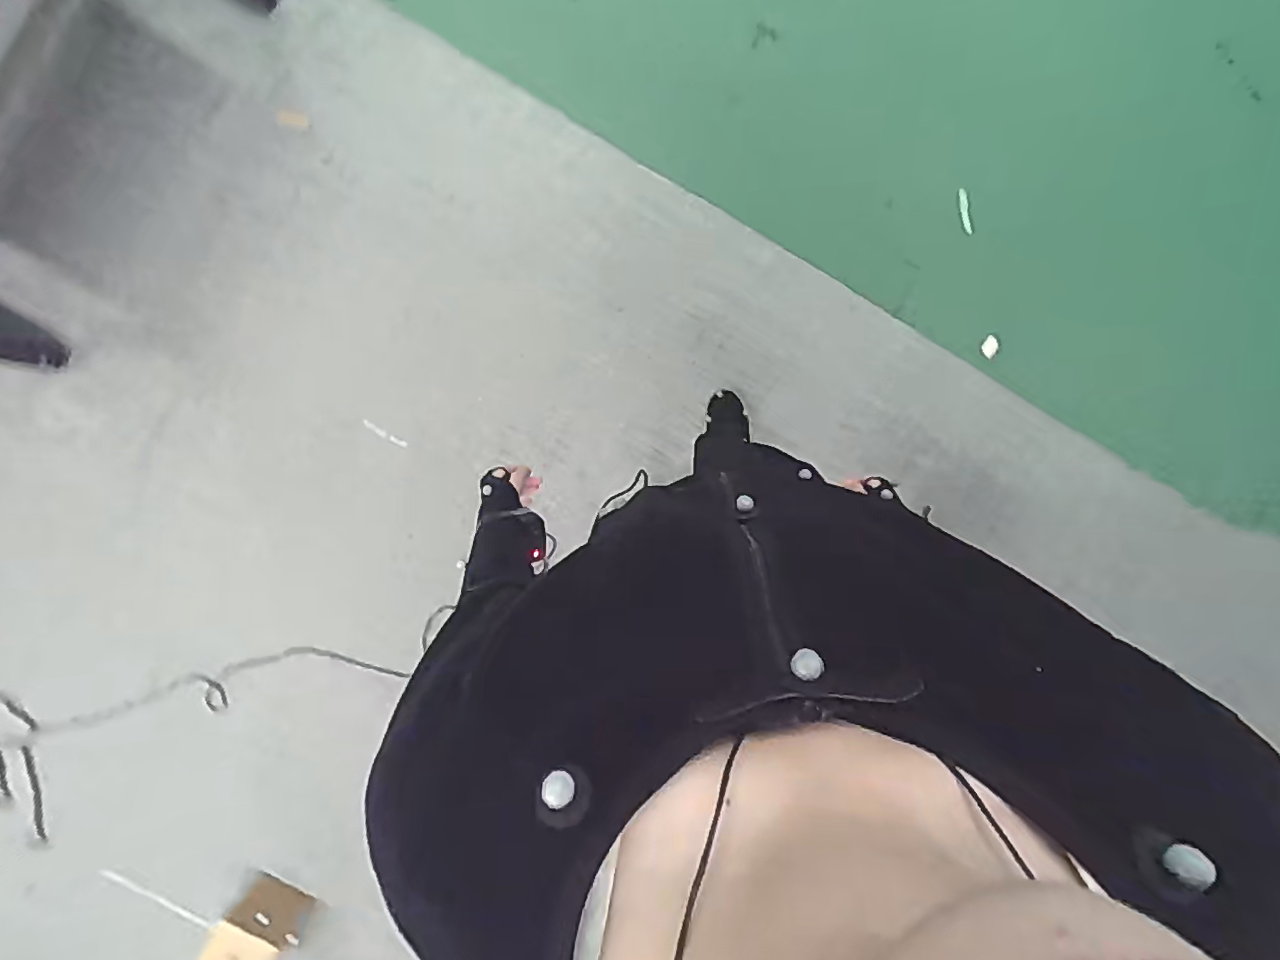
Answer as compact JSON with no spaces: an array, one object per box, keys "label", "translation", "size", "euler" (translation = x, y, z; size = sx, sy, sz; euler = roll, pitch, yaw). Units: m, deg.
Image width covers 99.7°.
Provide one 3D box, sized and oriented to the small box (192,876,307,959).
[{"label":"small box","translation":[-1.066,1.245,1.483],"size":[0.179,0.176,0.168],"euler":[30,92,-1]}]
